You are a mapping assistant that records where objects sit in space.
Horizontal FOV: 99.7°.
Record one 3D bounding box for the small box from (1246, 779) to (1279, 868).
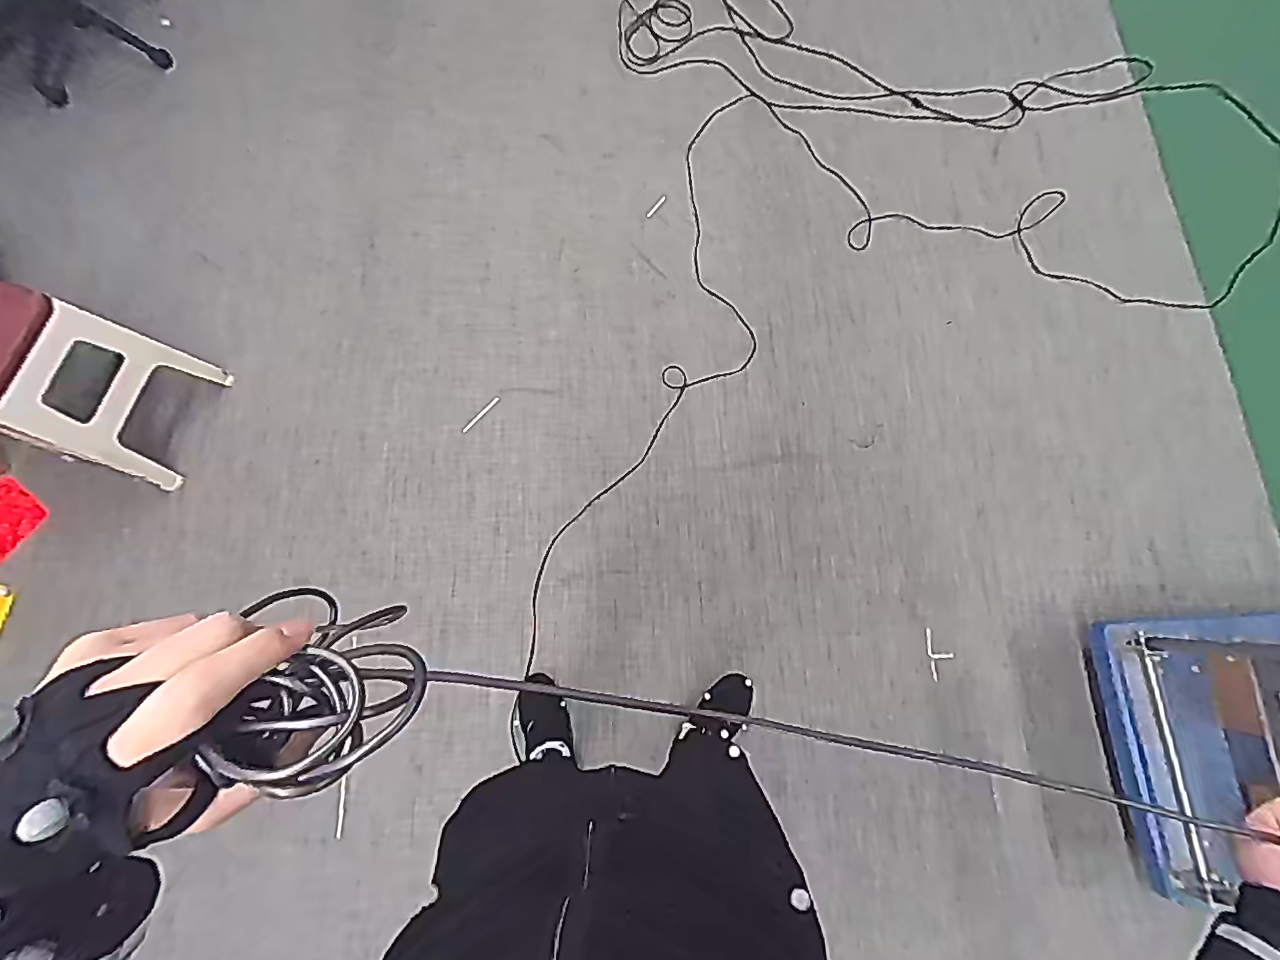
[{"bbox_3d":[1.394,0.708,1.073,0.179,0.176,0.168,-2,76,2],"label":"small box"}]
